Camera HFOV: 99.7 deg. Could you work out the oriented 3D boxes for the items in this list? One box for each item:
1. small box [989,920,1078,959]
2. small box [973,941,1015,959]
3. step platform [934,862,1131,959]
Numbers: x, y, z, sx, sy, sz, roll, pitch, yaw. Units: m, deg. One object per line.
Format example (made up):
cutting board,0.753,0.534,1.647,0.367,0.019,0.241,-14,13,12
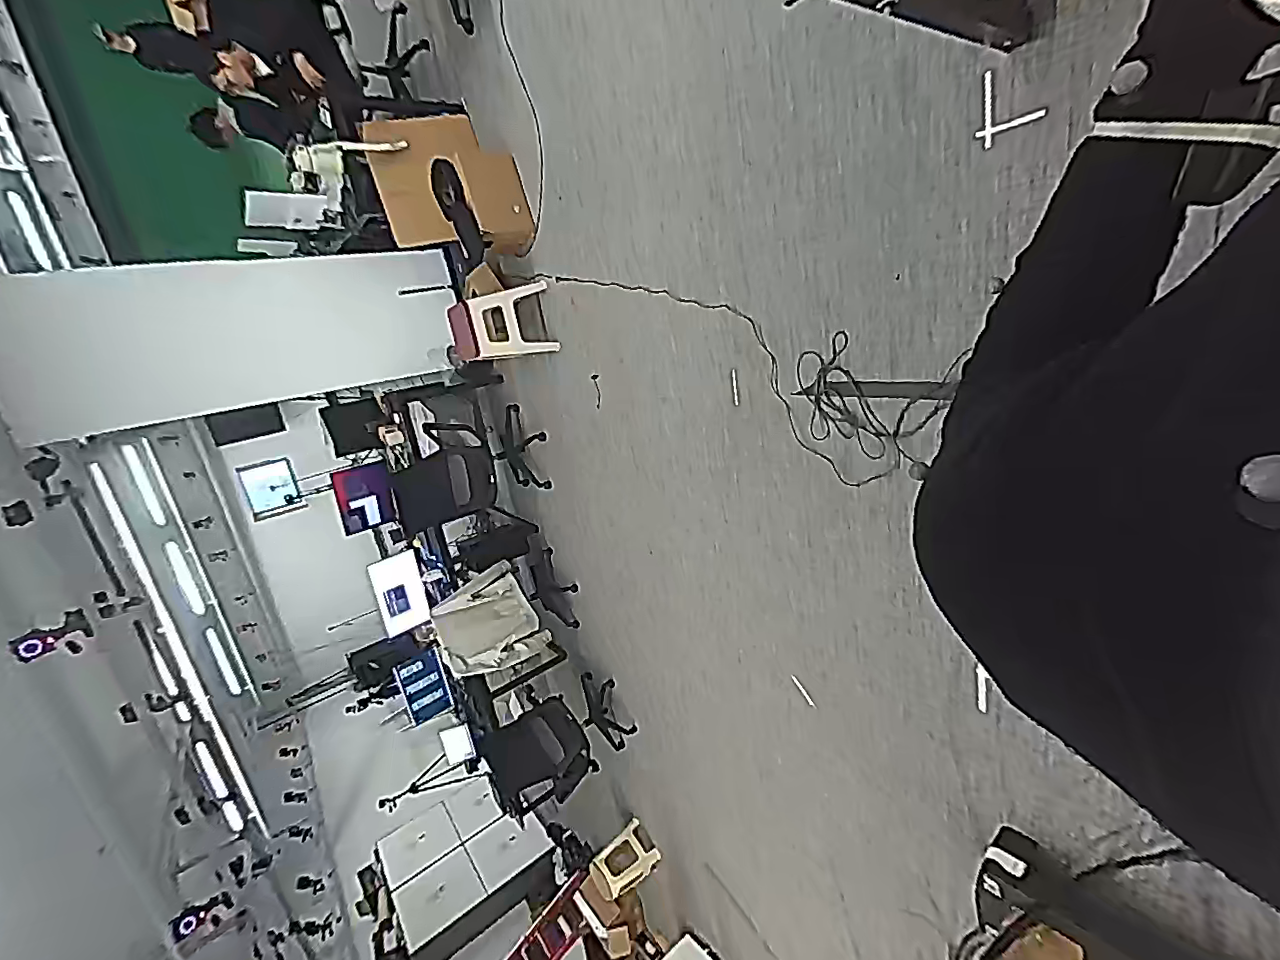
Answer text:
small box,1.091,1.332,1.492,0.168,0.176,0.179,9,115,53
small box,0.958,1.384,1.412,0.168,0.176,0.179,9,114,53
step platform,1.135,1.323,1.359,0.684,0.204,0.286,12,118,54
